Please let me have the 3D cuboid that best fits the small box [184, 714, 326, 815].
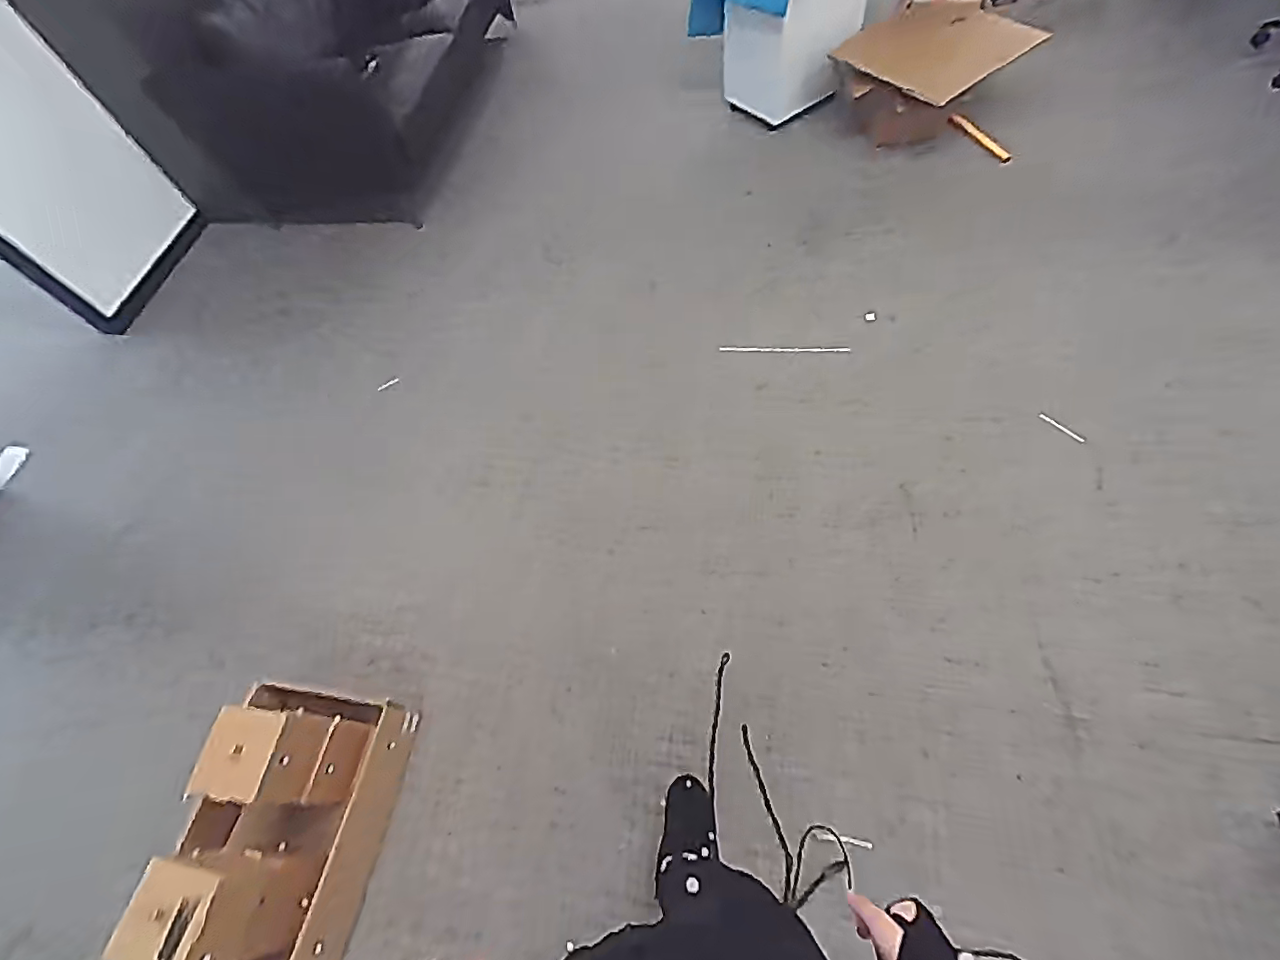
[{"bbox_3d":[-0.858,0.646,1.228,0.168,0.176,0.179,4,61,9],"label":"small box"}]
